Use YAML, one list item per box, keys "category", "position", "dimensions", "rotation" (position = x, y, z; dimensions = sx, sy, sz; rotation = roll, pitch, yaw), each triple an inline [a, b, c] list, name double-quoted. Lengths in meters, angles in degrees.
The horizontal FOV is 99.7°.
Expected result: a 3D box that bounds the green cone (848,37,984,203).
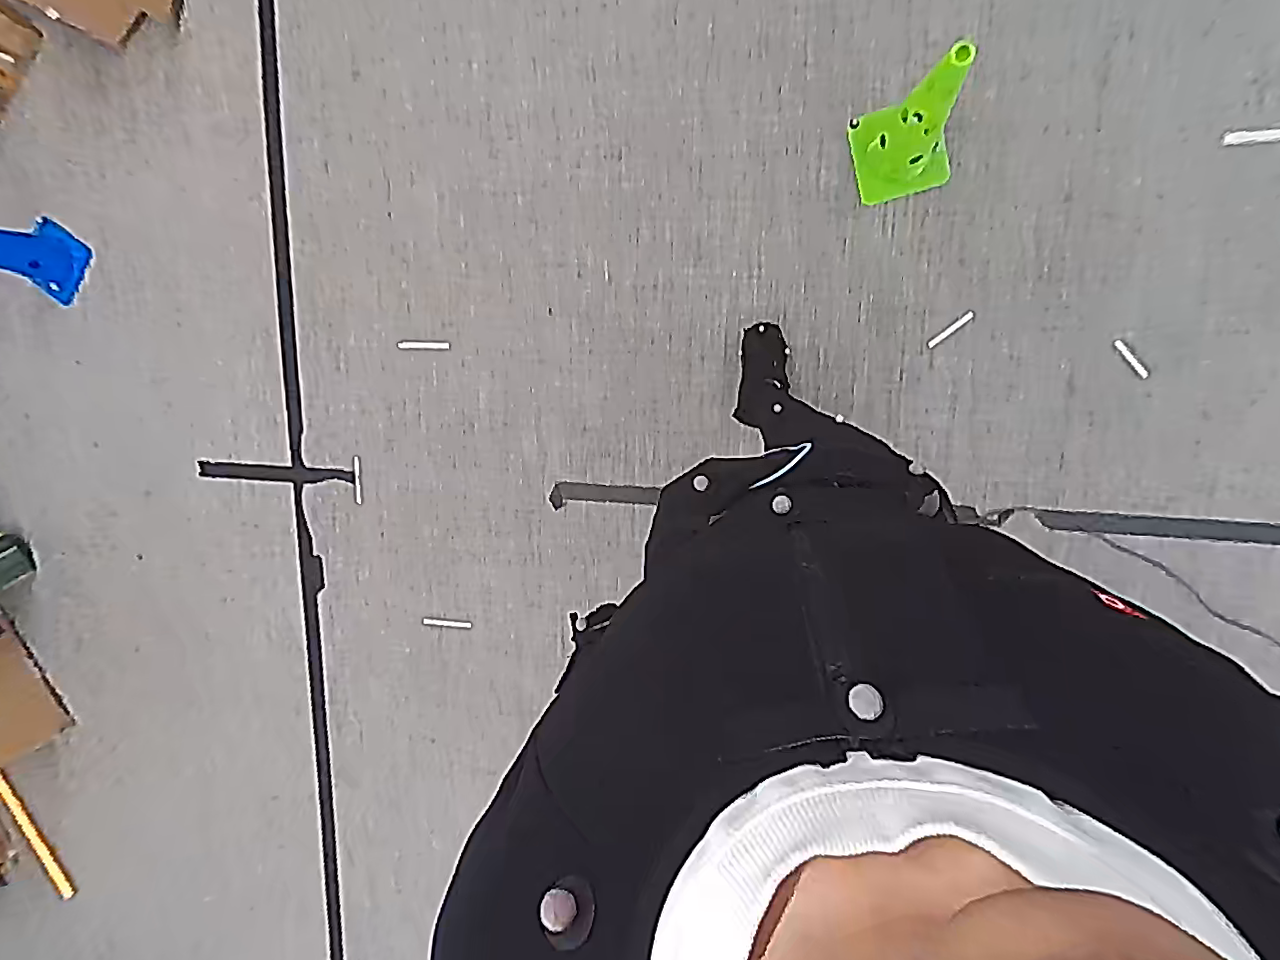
- category: "green cone"
  position: [0.574, -0.739, 1.081]
  dimensions: [0.202, 0.368, 0.200]
  rotation: [-14, 95, 9]
